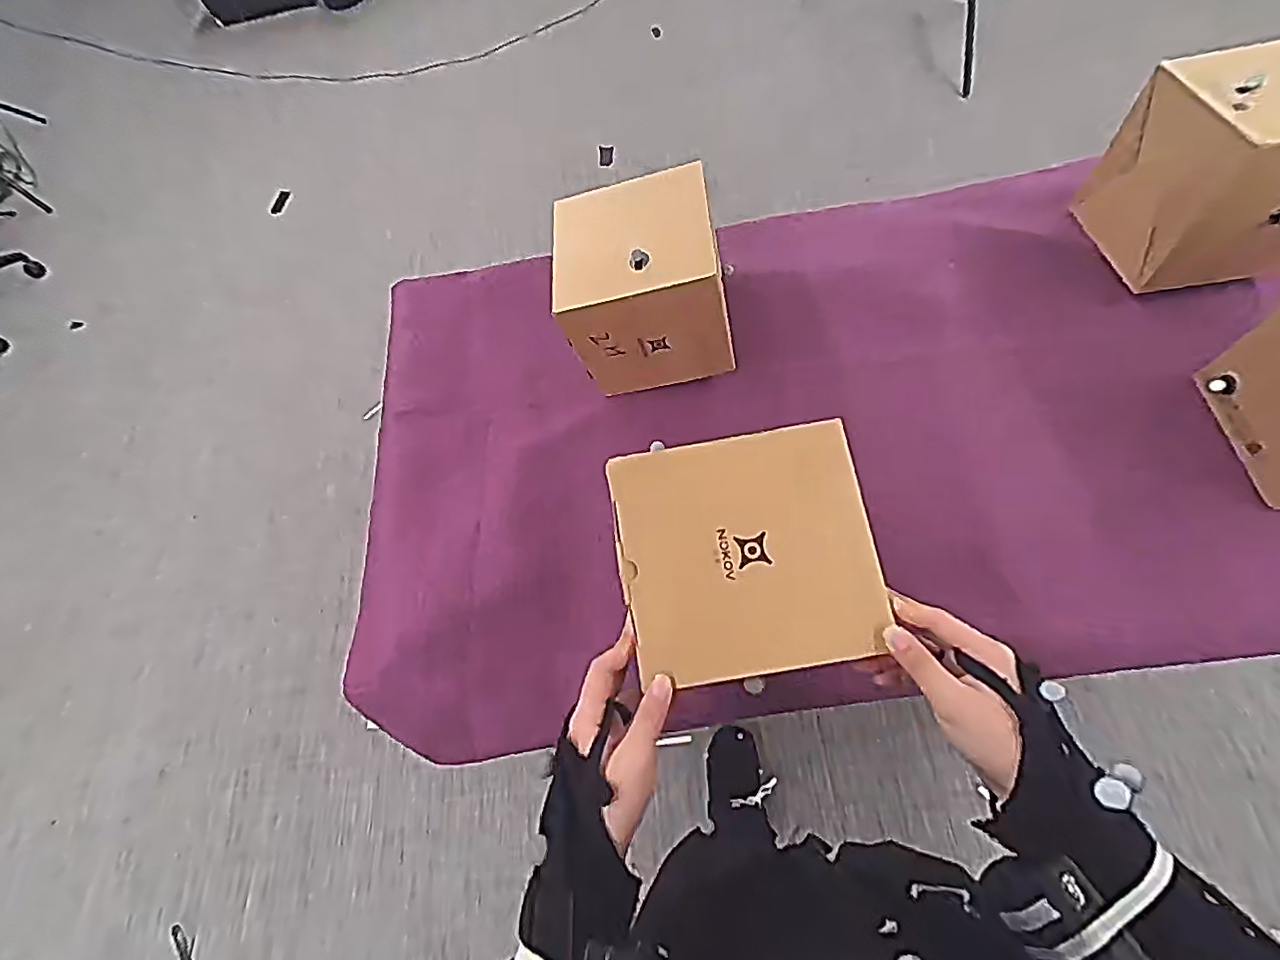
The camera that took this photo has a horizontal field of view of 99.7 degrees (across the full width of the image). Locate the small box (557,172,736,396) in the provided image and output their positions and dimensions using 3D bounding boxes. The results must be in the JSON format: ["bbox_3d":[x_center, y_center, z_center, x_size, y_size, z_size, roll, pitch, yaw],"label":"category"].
[{"bbox_3d":[0.010,-0.226,0.640,0.179,0.168,0.176,-9,64,12],"label":"small box"}]

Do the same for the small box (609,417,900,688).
[{"bbox_3d":[0.079,0.063,0.451,0.179,0.176,0.168,-11,77,2],"label":"small box"}]

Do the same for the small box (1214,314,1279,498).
[{"bbox_3d":[0.699,-0.088,0.492,0.179,0.176,0.168,-6,65,5],"label":"small box"}]
